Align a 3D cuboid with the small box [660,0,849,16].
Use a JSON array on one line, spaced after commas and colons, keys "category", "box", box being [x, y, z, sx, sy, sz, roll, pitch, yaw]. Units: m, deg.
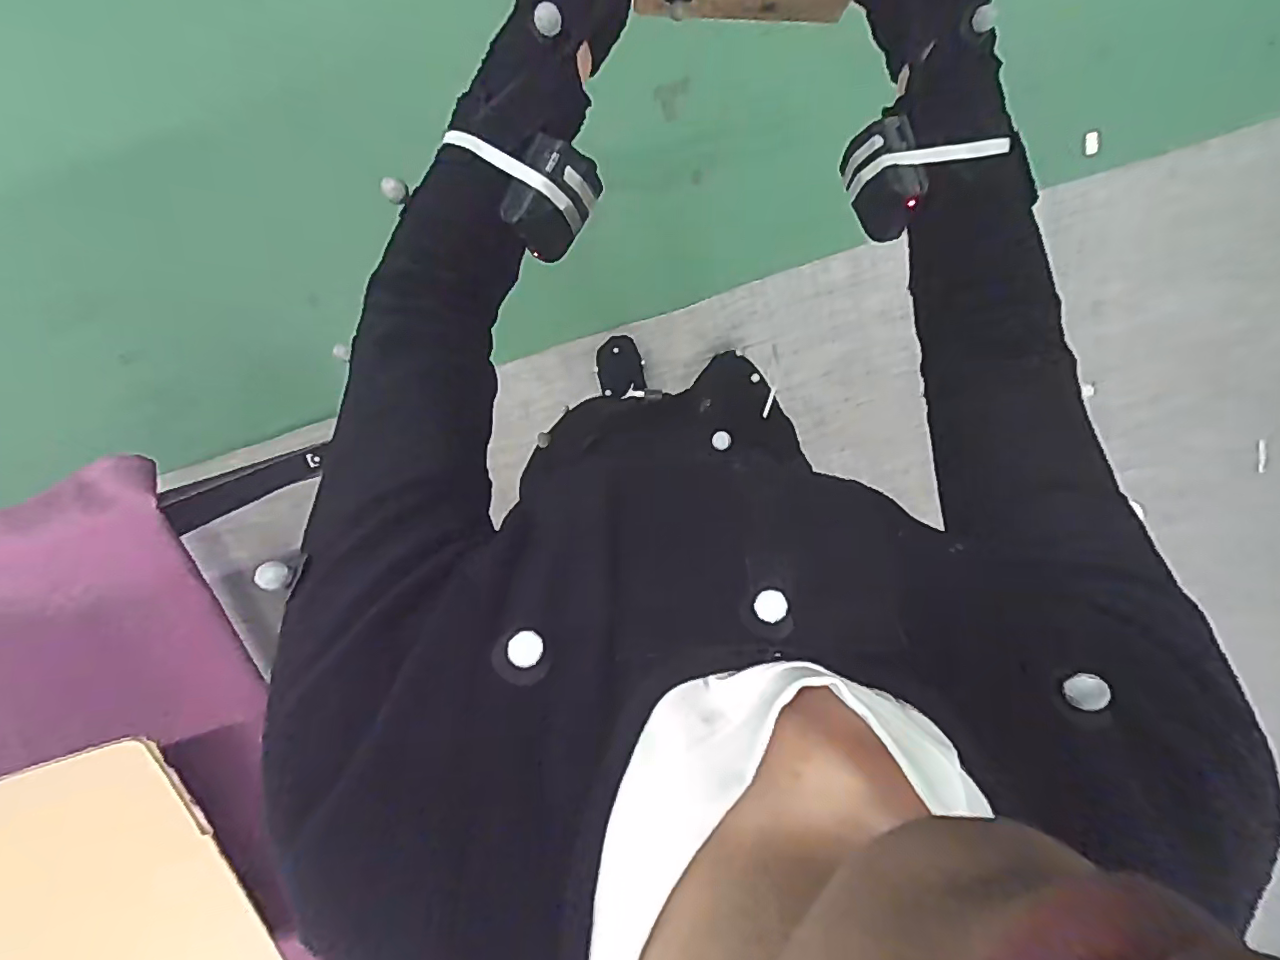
[{"category": "small box", "box": [0.085, -0.428, 0.336, 0.168, 0.176, 0.179, -2, 108, -1]}]
